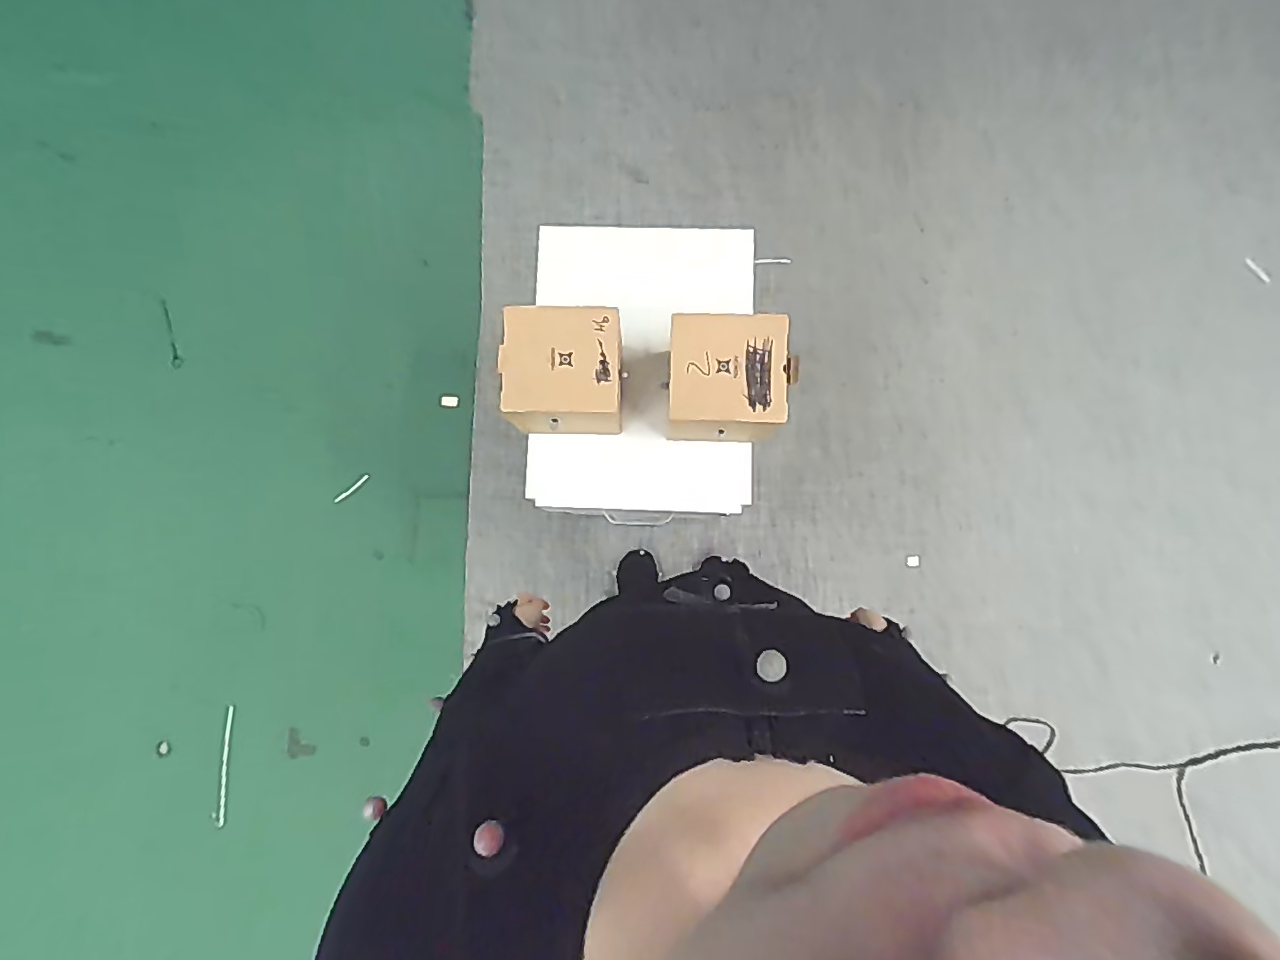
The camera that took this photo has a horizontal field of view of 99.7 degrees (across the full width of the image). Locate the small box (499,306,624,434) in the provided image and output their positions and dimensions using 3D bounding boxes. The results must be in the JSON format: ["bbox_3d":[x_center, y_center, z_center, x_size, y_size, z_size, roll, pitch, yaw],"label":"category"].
[{"bbox_3d":[-0.119,-0.170,0.882,0.179,0.176,0.168,1,84,0],"label":"small box"}]
